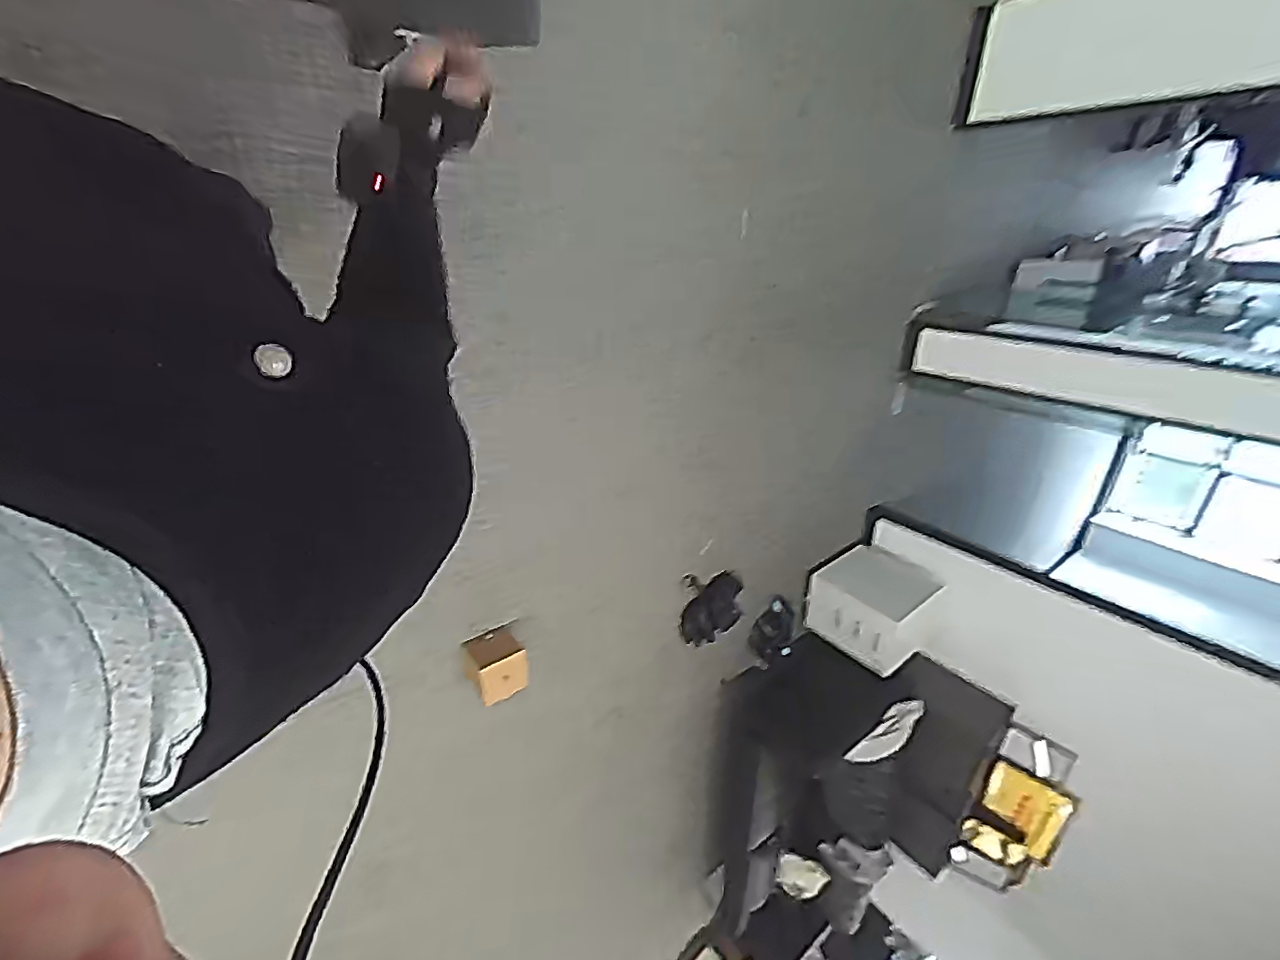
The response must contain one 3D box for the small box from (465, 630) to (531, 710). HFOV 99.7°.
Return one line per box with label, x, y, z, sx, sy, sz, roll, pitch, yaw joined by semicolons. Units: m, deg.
small box;-0.511;0.677;1.945;0.168;0.176;0.179;-19;120;-35
